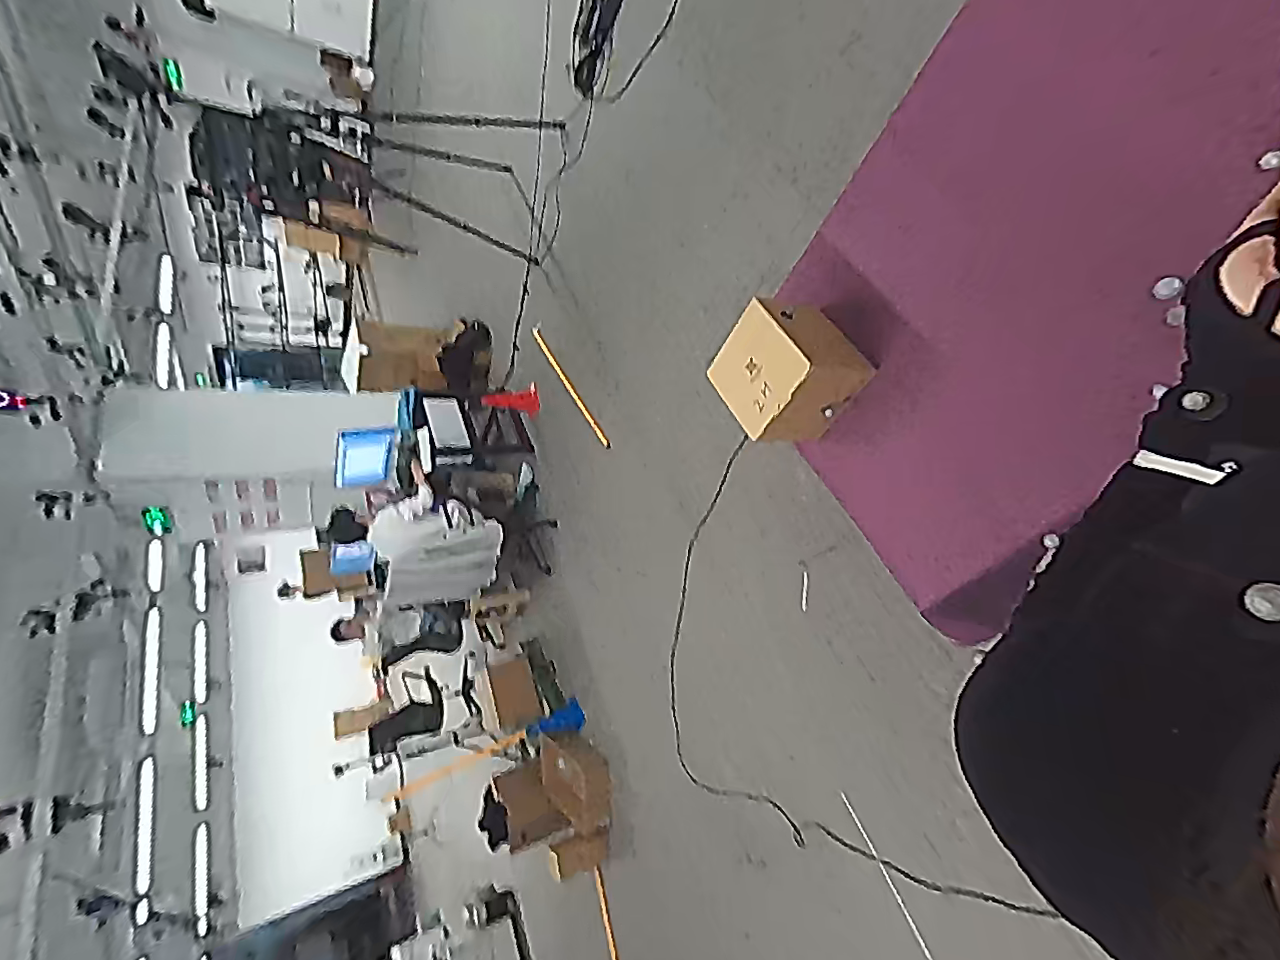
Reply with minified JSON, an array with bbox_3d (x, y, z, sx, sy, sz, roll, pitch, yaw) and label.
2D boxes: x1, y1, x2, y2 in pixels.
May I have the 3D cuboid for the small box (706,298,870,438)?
[{"bbox_3d":[0.253,-0.187,0.940,0.179,0.176,0.168,62,140,30],"label":"small box"}]
